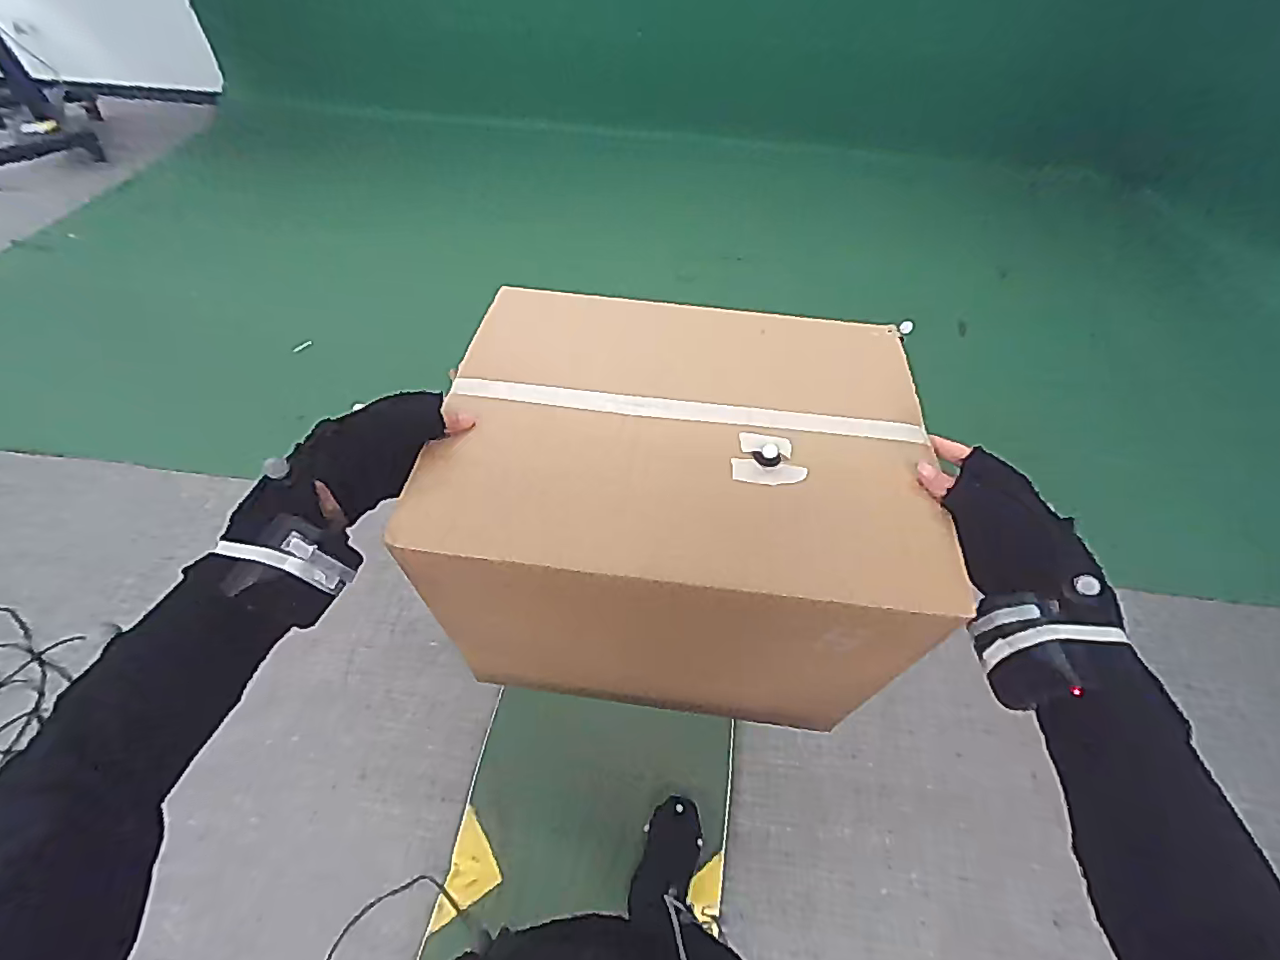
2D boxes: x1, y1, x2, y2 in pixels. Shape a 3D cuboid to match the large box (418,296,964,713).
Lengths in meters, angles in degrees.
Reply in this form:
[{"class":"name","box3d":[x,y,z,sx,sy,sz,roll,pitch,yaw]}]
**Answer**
[{"class":"large box","box3d":[0.040,0.036,0.592,0.408,0.320,0.320,7,53,2]}]
